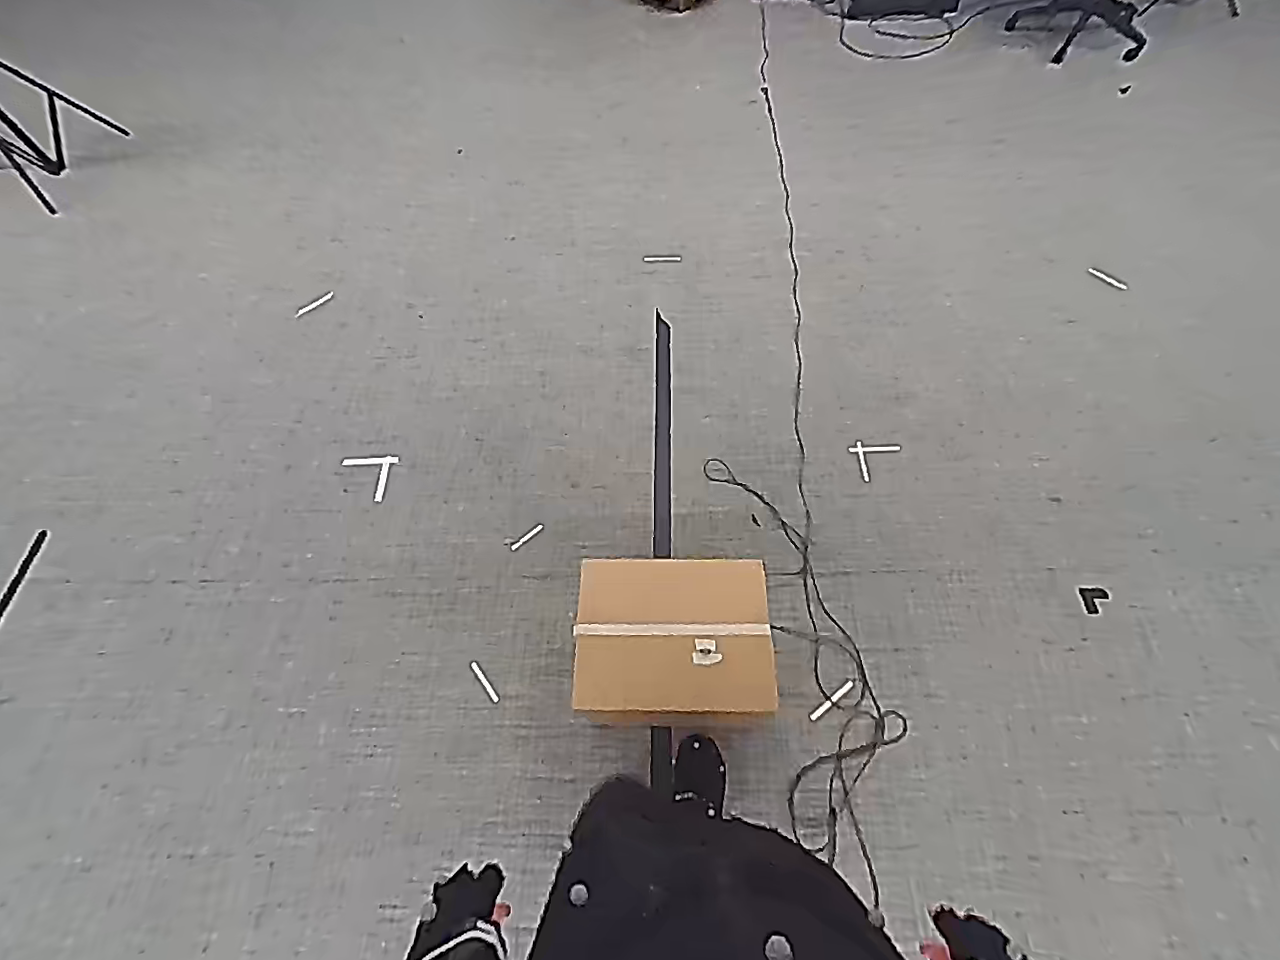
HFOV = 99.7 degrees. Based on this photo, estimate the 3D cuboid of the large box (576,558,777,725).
[{"bbox_3d":[0.073,0.384,1.257,0.408,0.320,0.320,0,61,2],"label":"large box"}]
